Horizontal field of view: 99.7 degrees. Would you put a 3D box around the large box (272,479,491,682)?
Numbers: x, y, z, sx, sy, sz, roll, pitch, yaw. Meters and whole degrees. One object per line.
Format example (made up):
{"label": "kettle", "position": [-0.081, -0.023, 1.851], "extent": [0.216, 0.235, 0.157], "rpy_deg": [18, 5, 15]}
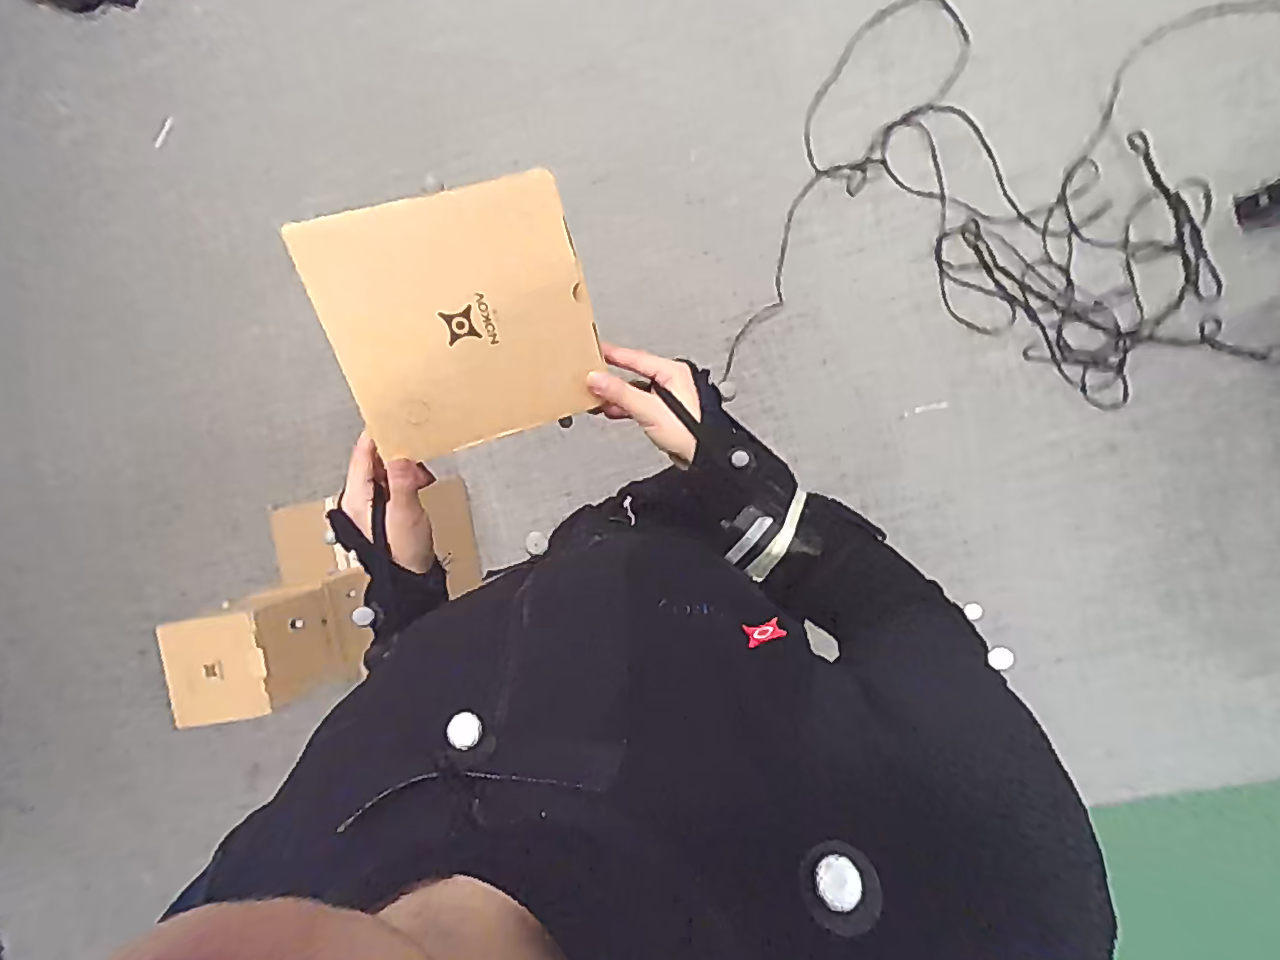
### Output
{"label": "large box", "position": [-0.604, 0.225, 1.321], "extent": [0.320, 0.320, 0.408], "rpy_deg": [-11, 91, 8]}

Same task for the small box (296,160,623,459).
{"label": "small box", "position": [-0.132, -0.134, 0.442], "extent": [0.179, 0.176, 0.168], "rpy_deg": [-19, 111, -11]}

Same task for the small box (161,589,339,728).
{"label": "small box", "position": [-0.644, 0.293, 0.919], "extent": [0.179, 0.176, 0.168], "rpy_deg": [-12, 90, 10]}
